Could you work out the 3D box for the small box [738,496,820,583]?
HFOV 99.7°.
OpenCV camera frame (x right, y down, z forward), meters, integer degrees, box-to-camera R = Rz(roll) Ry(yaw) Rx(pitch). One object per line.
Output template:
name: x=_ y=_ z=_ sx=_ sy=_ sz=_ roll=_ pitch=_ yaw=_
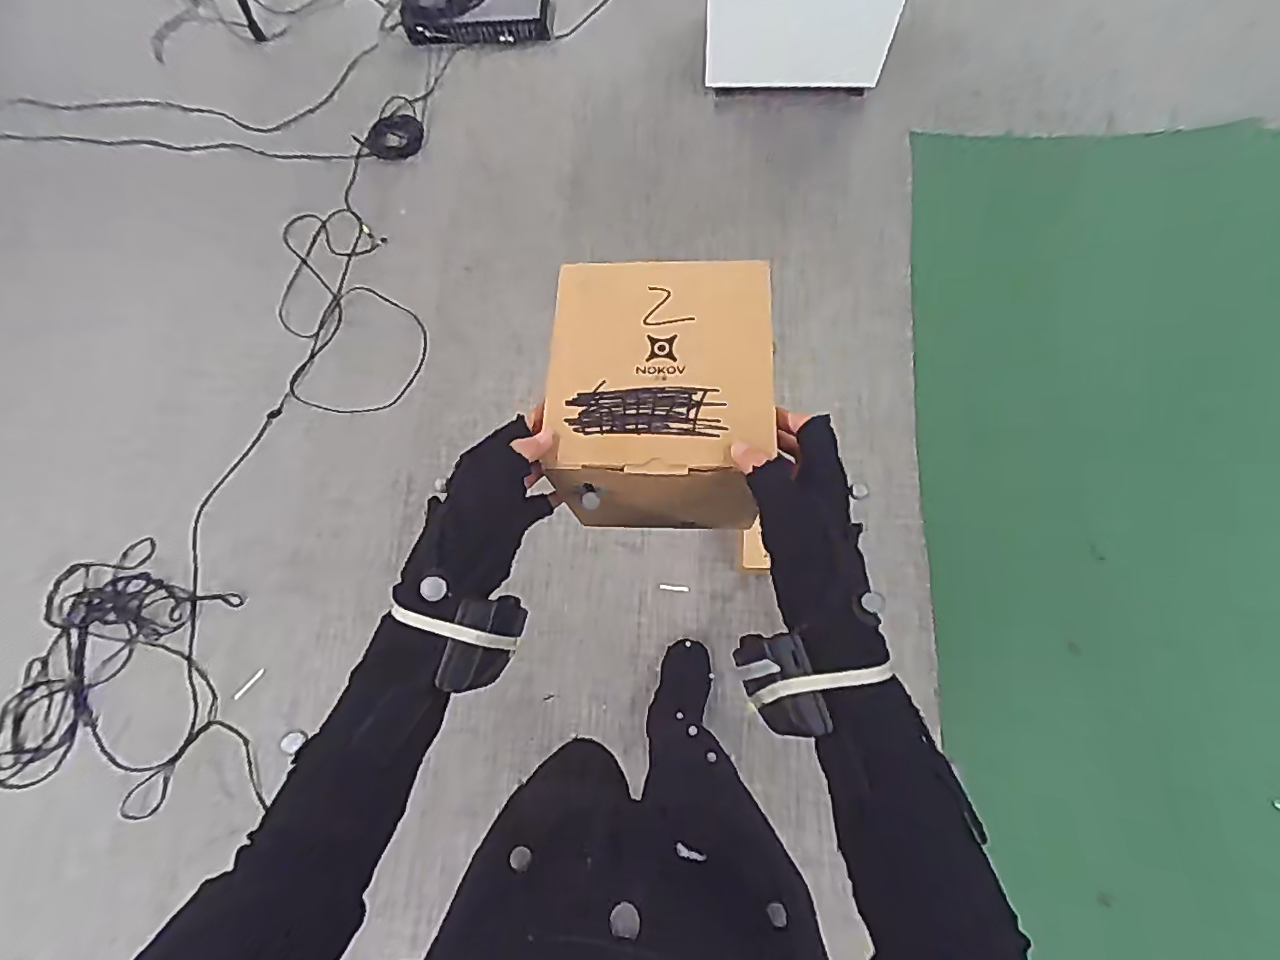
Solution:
small box: x=0.324 y=0.145 z=1.278 sx=0.168 sy=0.176 sz=0.179 roll=3 pitch=76 yaw=6
